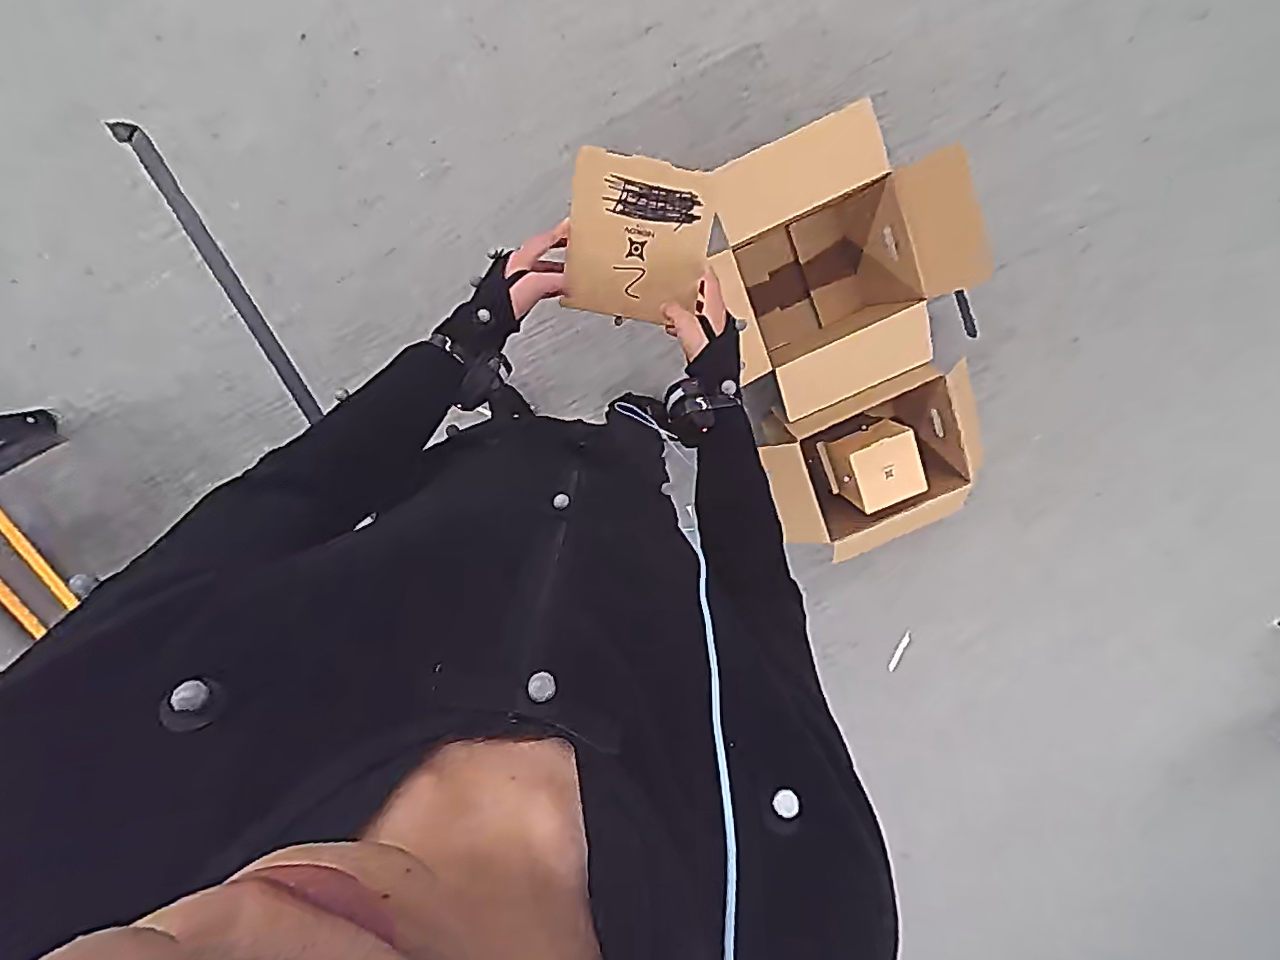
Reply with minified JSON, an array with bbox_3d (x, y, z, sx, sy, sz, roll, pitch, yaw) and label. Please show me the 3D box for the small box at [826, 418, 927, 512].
[{"bbox_3d":[0.617,-0.045,1.422,0.168,0.176,0.179,-23,106,4],"label":"small box"}]
